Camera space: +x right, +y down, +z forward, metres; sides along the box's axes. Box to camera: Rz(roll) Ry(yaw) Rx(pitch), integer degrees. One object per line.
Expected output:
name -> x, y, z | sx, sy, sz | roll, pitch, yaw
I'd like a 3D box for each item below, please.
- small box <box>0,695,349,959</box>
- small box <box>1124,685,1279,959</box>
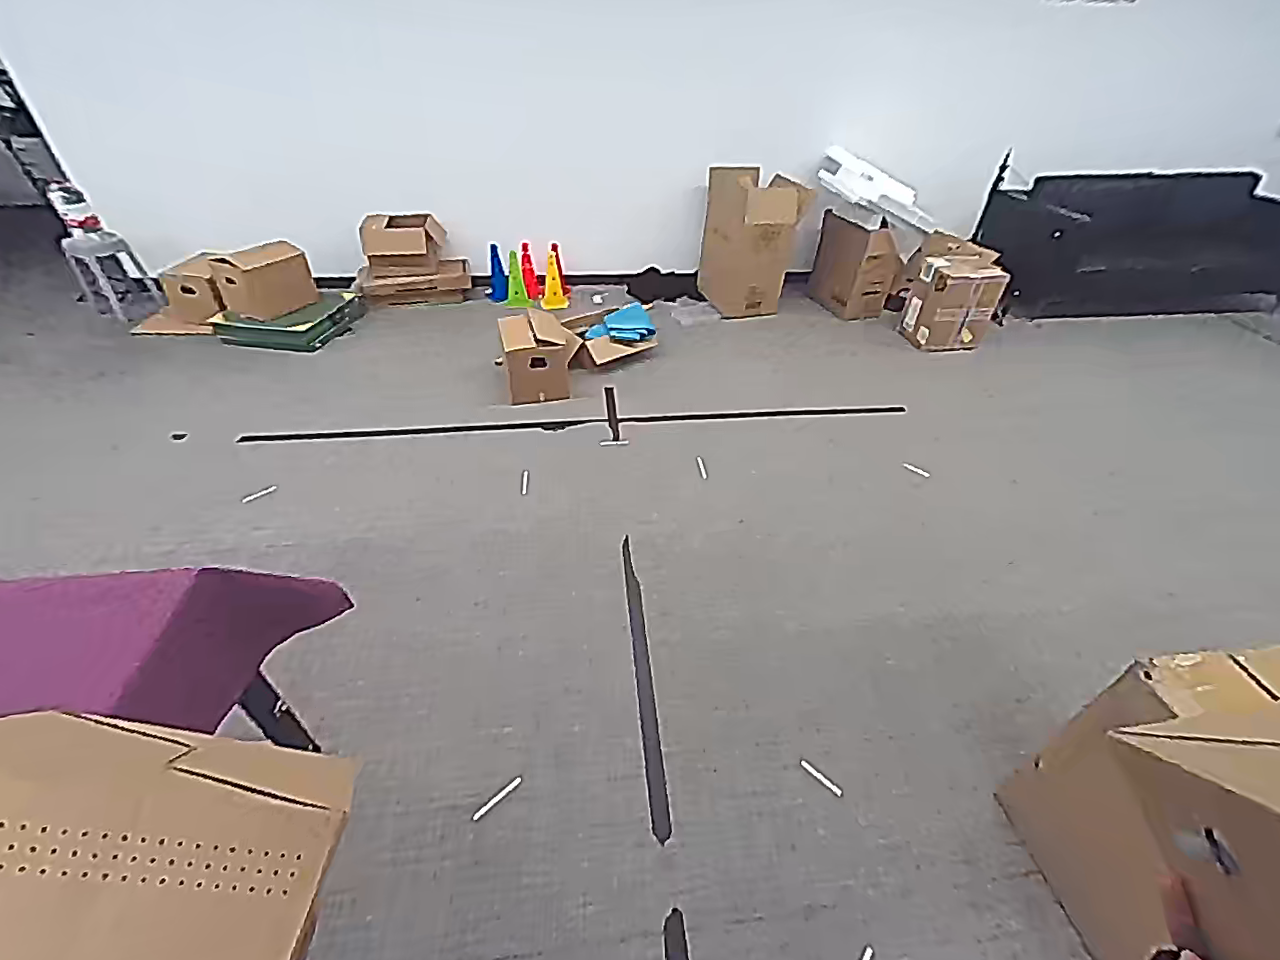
small box -> -0.259, 0.213, 0.262 | 0.179, 0.168, 0.176 | 21, 64, -18
small box -> 0.374, 0.191, 0.241 | 0.168, 0.179, 0.176 | -20, 73, 15
